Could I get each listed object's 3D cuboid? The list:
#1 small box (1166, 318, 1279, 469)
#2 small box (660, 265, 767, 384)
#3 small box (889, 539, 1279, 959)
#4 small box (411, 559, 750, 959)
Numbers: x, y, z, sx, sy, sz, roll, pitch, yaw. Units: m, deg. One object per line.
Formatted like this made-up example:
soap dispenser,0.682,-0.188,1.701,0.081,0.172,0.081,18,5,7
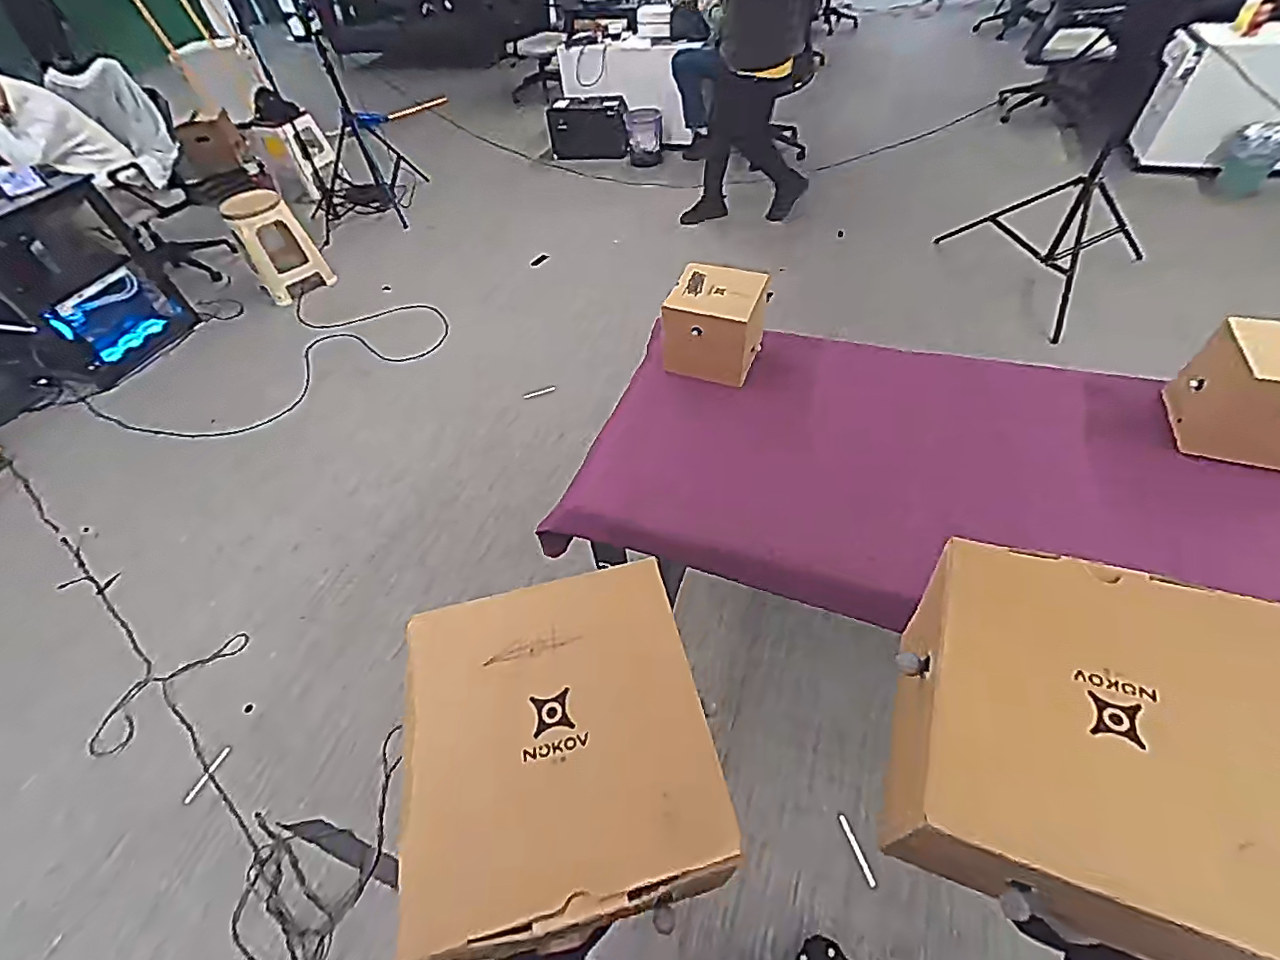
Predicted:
small box,1.024,-0.140,0.892,0.179,0.176,0.168,14,54,16
small box,0.154,-0.324,1.139,0.179,0.176,0.168,16,55,17
small box,0.265,0.169,0.343,0.168,0.176,0.179,12,55,22
small box,-0.040,0.185,0.363,0.168,0.176,0.179,-12,50,-8
